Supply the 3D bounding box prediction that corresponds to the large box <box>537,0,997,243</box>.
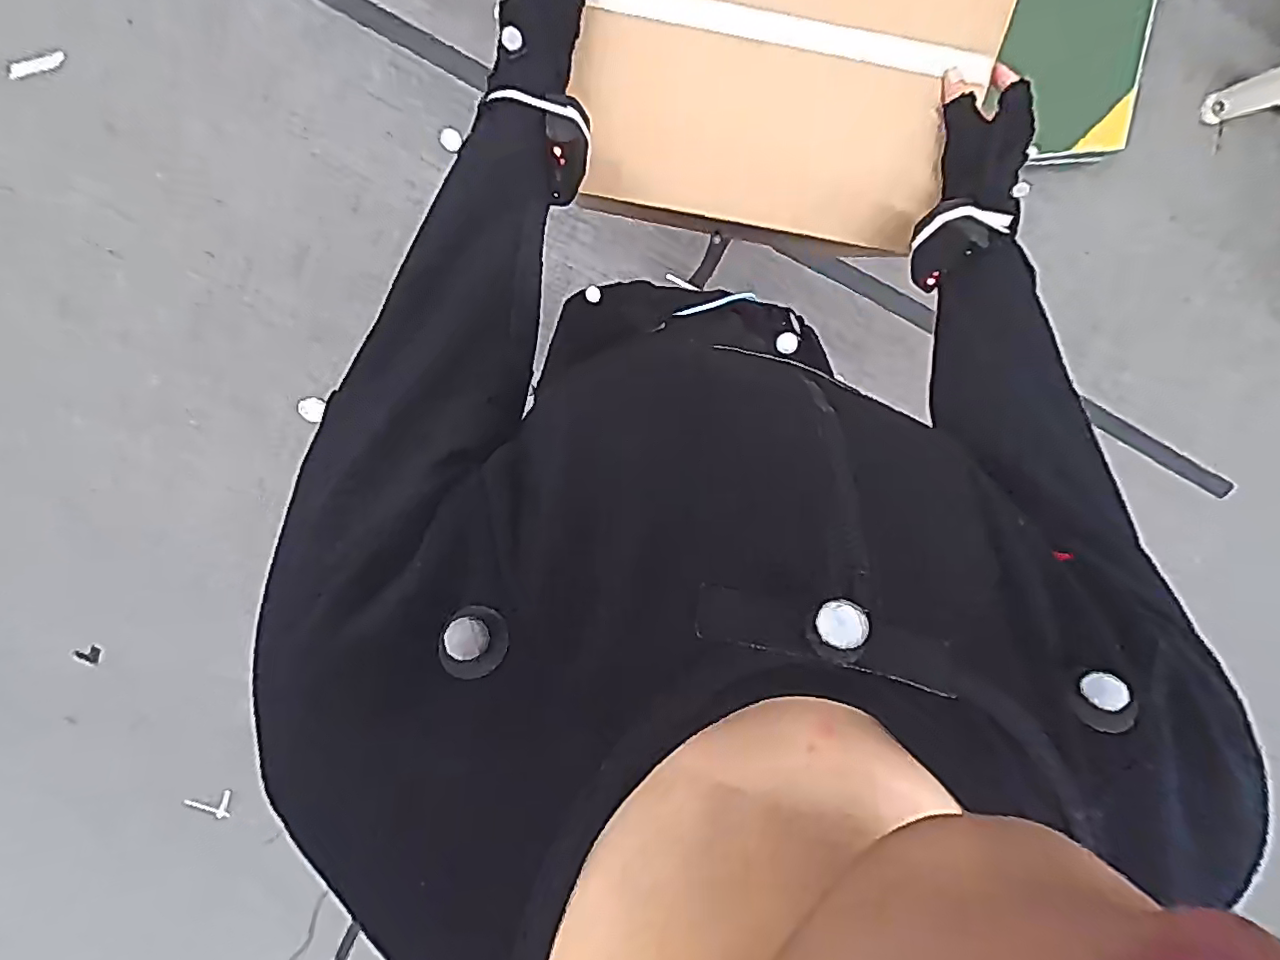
[{"bbox_3d":[0.121,-0.471,0.630,0.408,0.320,0.320,10,112,-2],"label":"large box"}]
